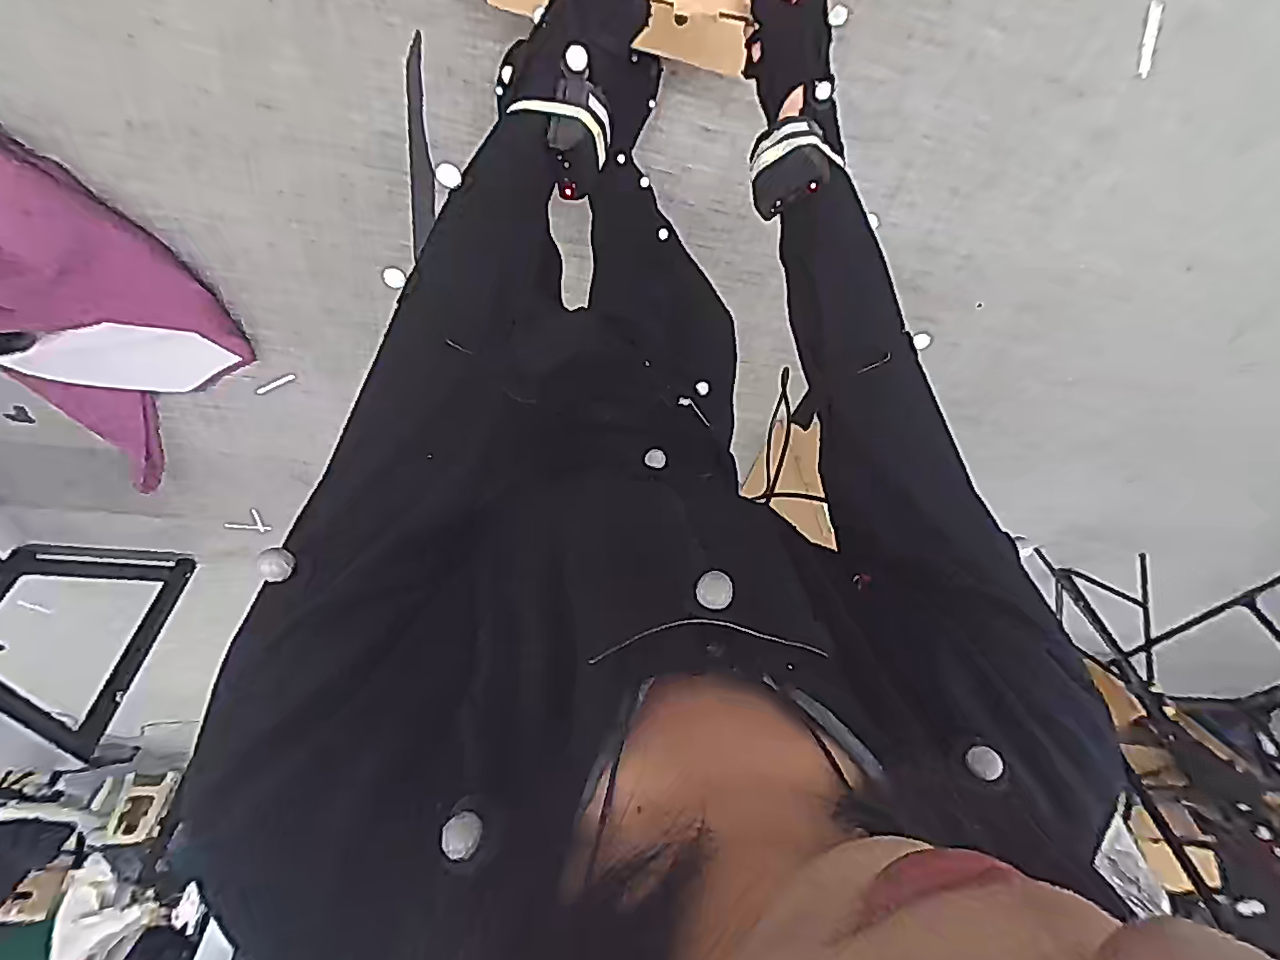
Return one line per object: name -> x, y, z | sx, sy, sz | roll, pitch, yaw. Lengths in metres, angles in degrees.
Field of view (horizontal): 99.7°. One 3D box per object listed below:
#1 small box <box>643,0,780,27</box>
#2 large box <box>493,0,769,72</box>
small box -> 0.059, -0.561, 0.505 | 0.168, 0.176, 0.179 | 4, 134, -9
large box -> 0.002, -0.857, 0.786 | 0.408, 0.320, 0.320 | 5, 137, -13
